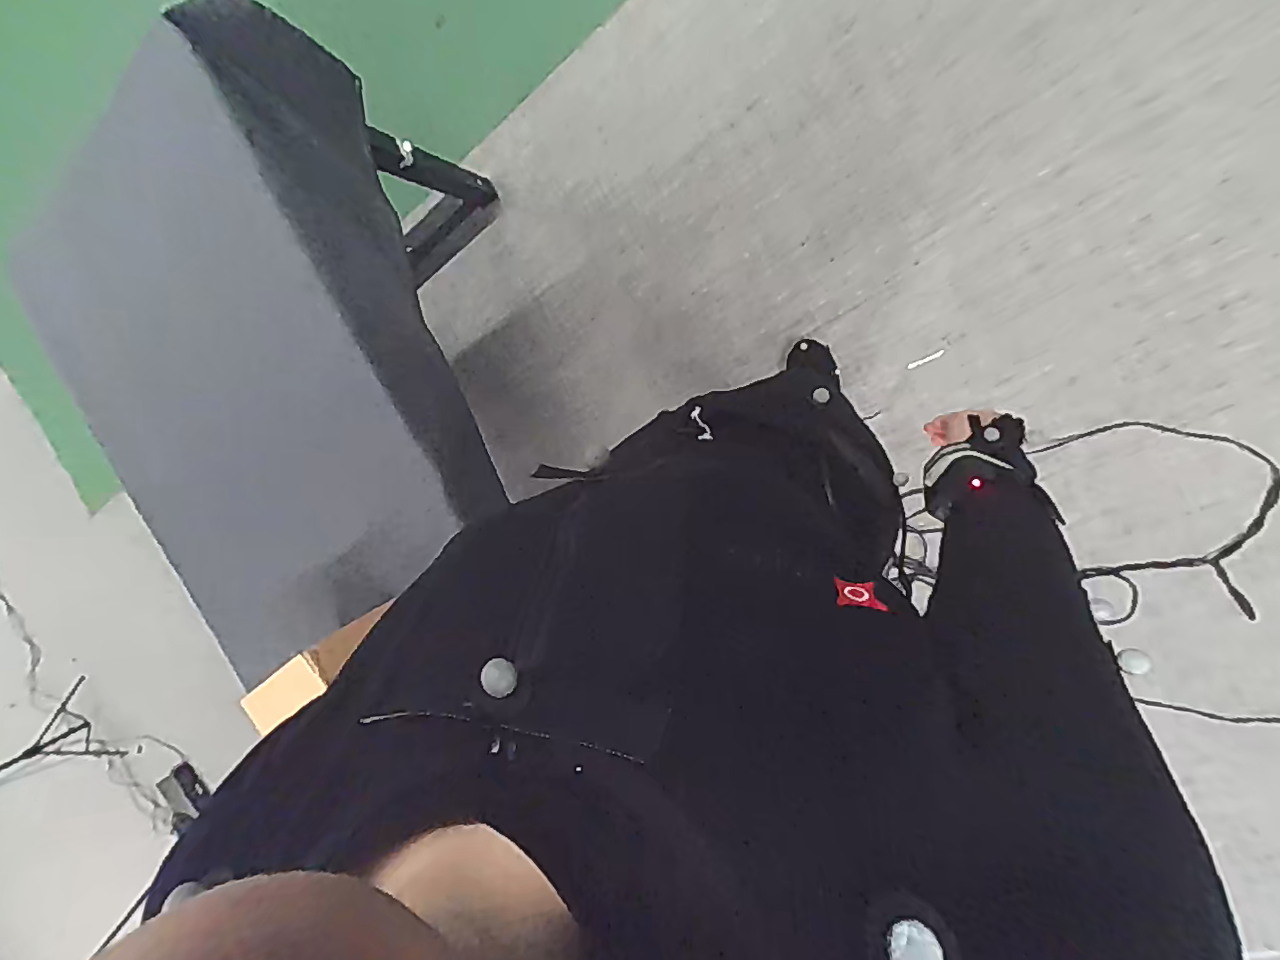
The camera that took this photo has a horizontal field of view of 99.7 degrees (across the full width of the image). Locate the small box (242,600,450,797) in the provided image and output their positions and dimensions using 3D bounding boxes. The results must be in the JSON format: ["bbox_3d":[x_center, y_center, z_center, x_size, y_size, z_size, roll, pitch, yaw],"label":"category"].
[{"bbox_3d":[-0.402,0.299,0.768,0.179,0.176,0.168,-35,89,25],"label":"small box"}]
